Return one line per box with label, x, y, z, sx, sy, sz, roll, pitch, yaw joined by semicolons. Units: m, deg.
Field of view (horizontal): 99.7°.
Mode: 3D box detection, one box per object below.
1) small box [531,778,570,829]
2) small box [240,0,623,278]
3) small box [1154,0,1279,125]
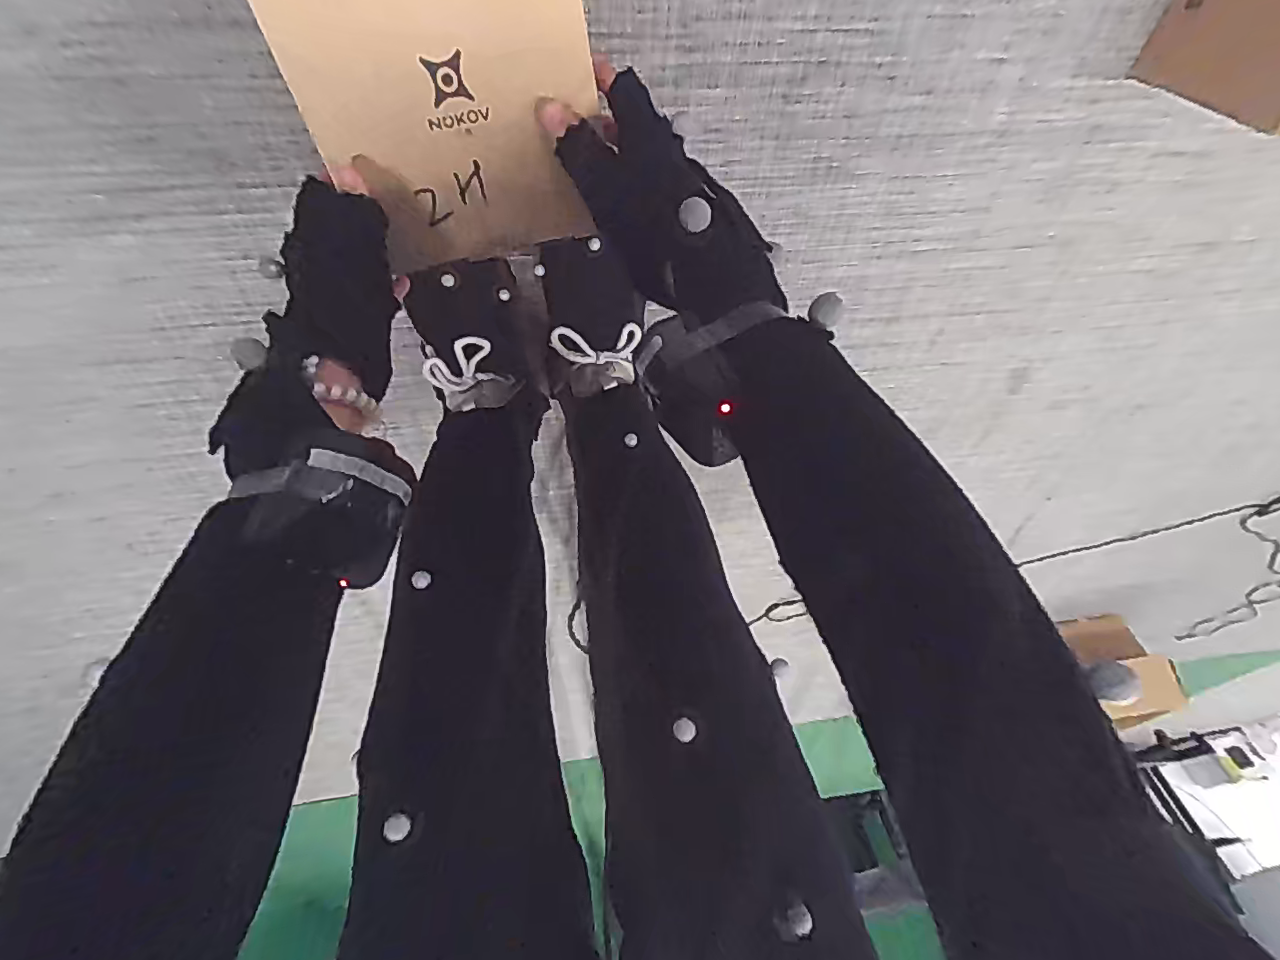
small box;-0.428;1.546;2.584;0.179;0.176;0.168;-5;142;-8
small box;-0.114;-0.259;0.348;0.168;0.176;0.179;-12;132;0
small box;0.573;-0.389;0.405;0.179;0.176;0.168;-6;142;-5
